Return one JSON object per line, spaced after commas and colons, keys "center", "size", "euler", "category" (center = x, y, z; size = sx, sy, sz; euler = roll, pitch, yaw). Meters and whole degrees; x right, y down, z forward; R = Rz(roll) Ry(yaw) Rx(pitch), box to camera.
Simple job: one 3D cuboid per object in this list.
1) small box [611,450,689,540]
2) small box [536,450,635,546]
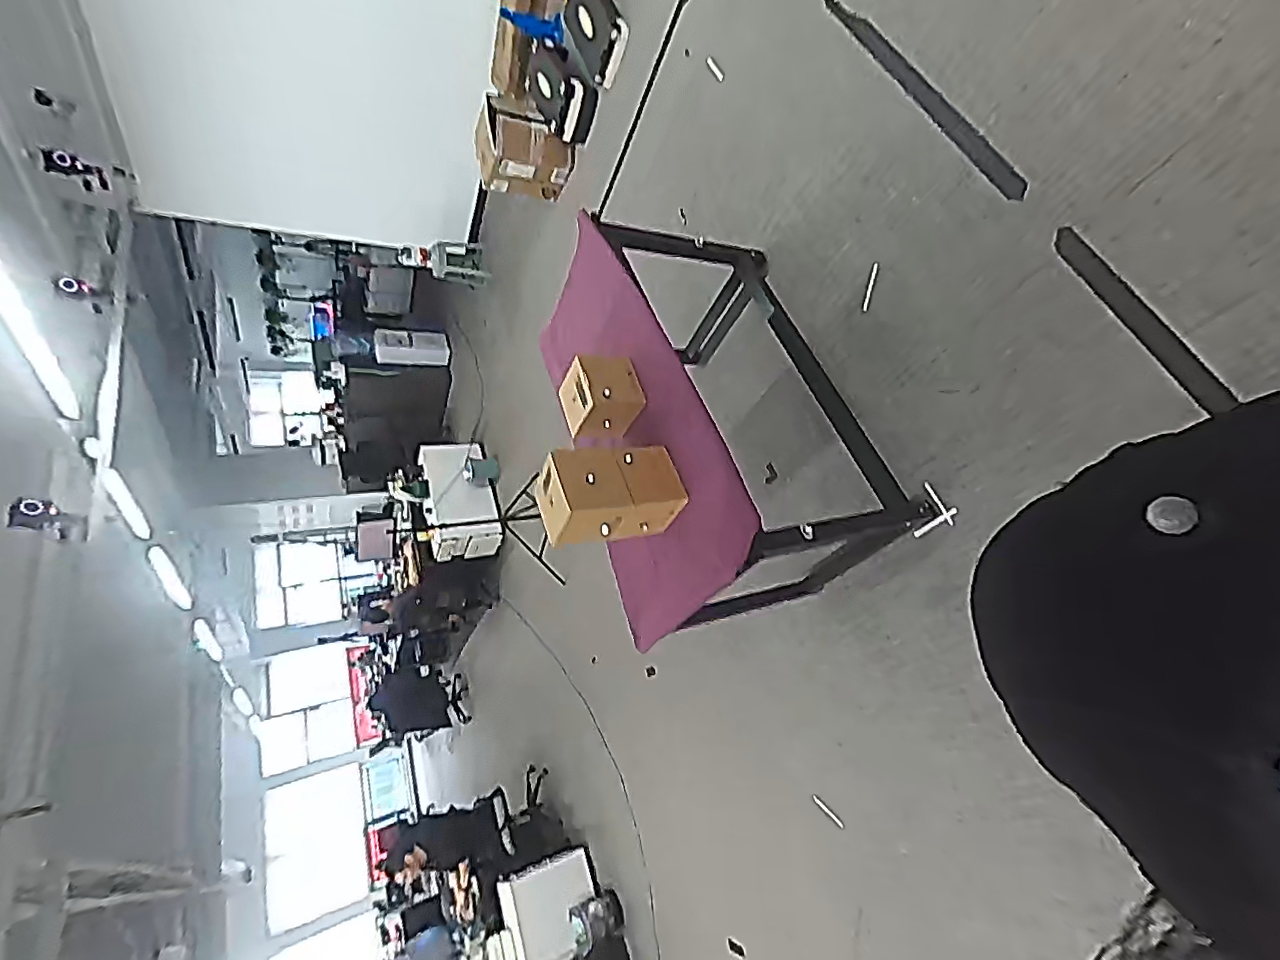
{"center": [0.003, 0.033, 1.418], "size": [0.168, 0.176, 0.179], "euler": [-57, 47, 46], "category": "small box"}
{"center": [-0.136, 0.041, 1.331], "size": [0.168, 0.176, 0.179], "euler": [-57, 48, 46], "category": "small box"}
